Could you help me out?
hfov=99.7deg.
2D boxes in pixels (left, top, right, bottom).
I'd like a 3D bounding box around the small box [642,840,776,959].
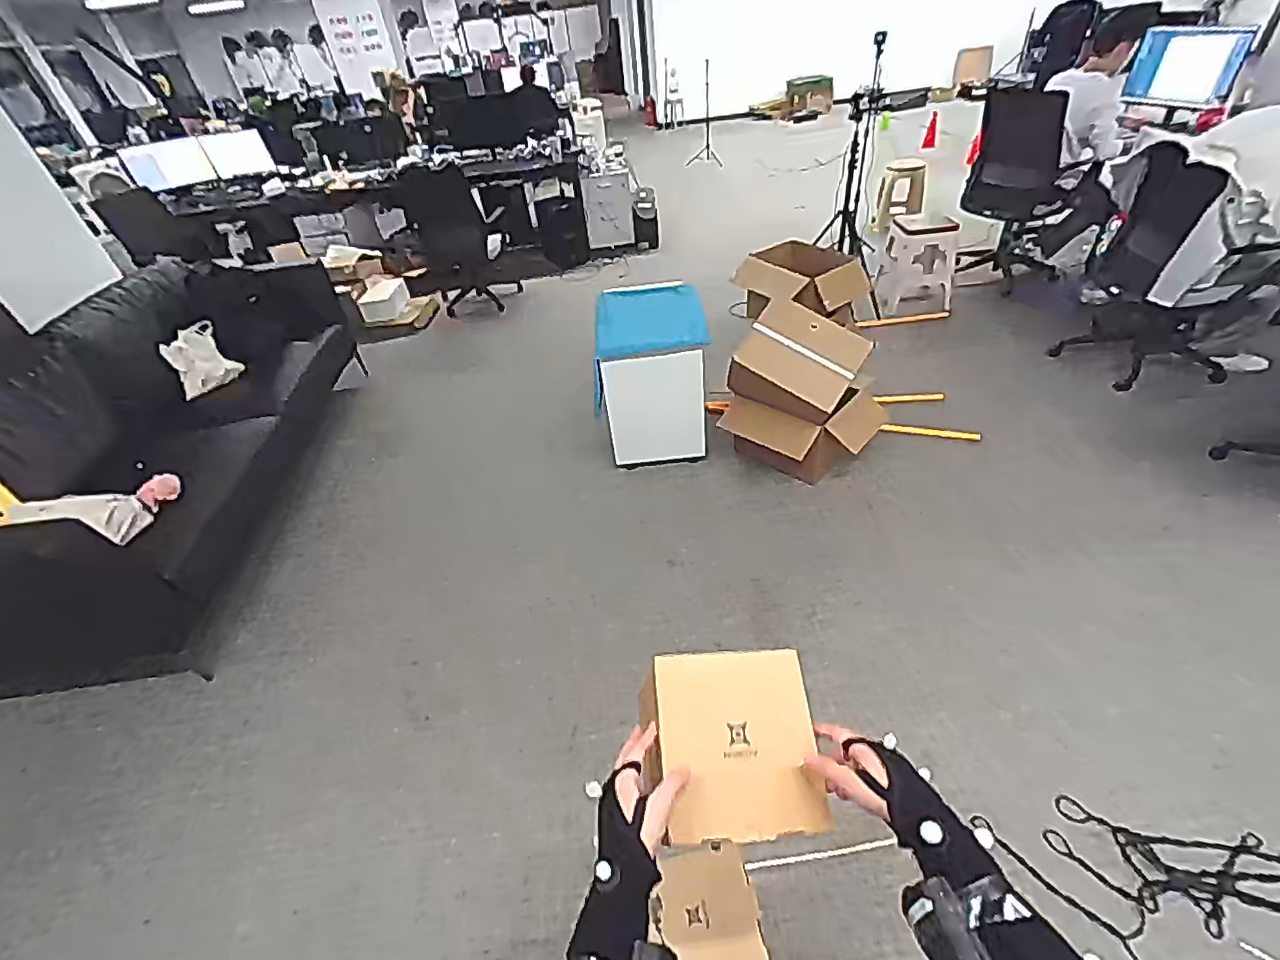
[{"bbox_3d":[0.107,0.717,0.877,0.179,0.176,0.168,-11,40,-3],"label":"small box"}]
